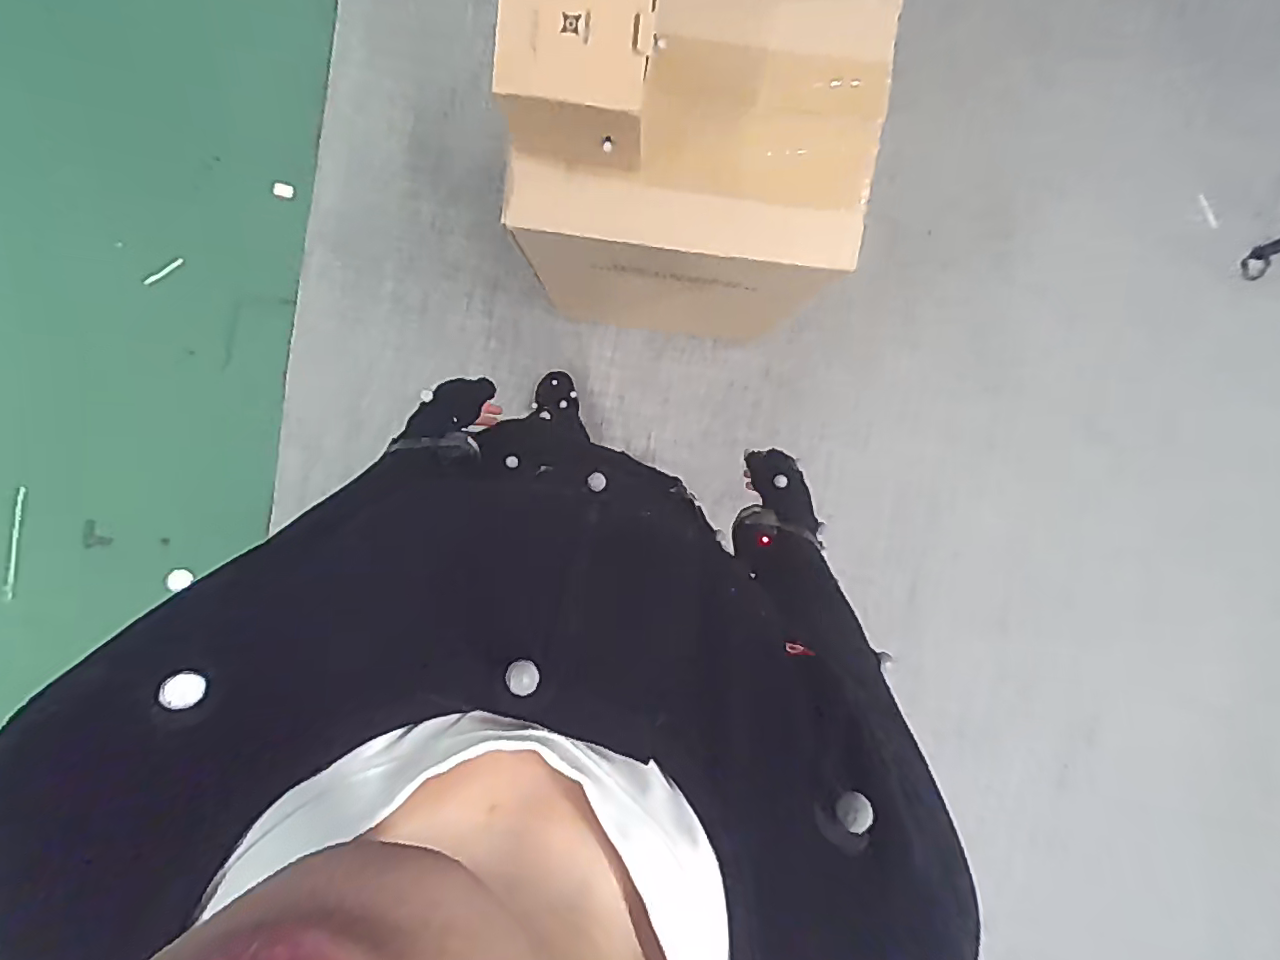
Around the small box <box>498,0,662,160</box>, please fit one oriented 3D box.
[{"bbox_3d":[-0.067,-0.533,0.686,0.179,0.176,0.168,7,98,0],"label":"small box"}]
